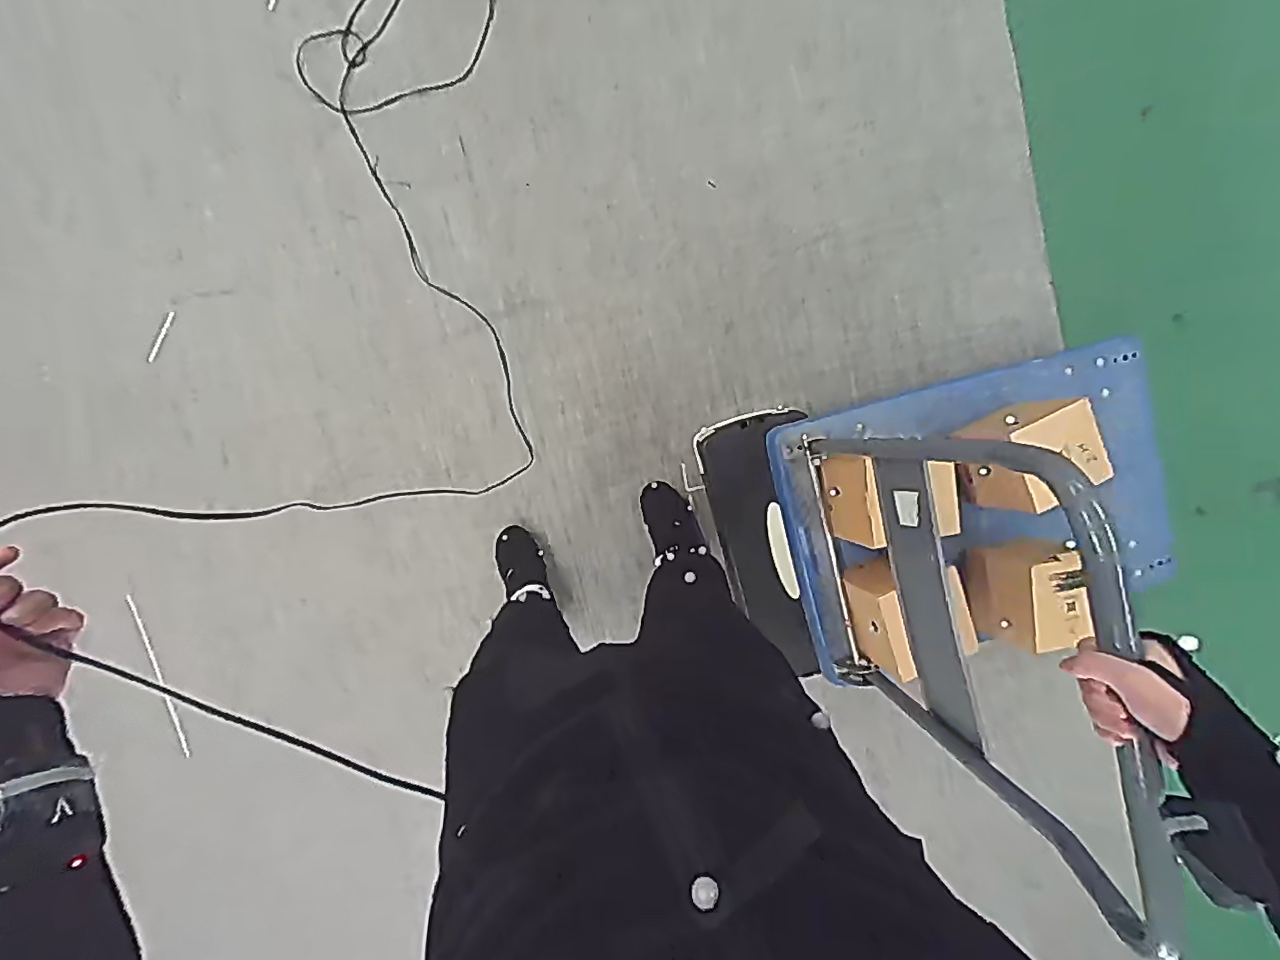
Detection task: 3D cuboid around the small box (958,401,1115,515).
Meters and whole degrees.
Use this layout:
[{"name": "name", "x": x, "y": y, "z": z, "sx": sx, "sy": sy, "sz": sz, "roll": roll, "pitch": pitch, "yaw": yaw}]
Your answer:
[{"name": "small box", "x": 0.775, "y": -0.045, "z": 1.080, "sx": 0.179, "sy": 0.176, "sz": 0.168, "roll": -24, "pitch": 97, "yaw": -5}]

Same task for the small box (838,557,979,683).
[{"name": "small box", "x": 0.518, "y": 0.261, "z": 1.065, "sx": 0.168, "sy": 0.176, "sz": 0.179, "roll": -18, "pitch": 96, "yaw": -5}]

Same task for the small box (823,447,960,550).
[{"name": "small box", "x": 0.481, "y": 0.028, "z": 1.049, "sx": 0.179, "sy": 0.176, "sz": 0.168, "roll": -8, "pitch": 95, "yaw": -6}]
